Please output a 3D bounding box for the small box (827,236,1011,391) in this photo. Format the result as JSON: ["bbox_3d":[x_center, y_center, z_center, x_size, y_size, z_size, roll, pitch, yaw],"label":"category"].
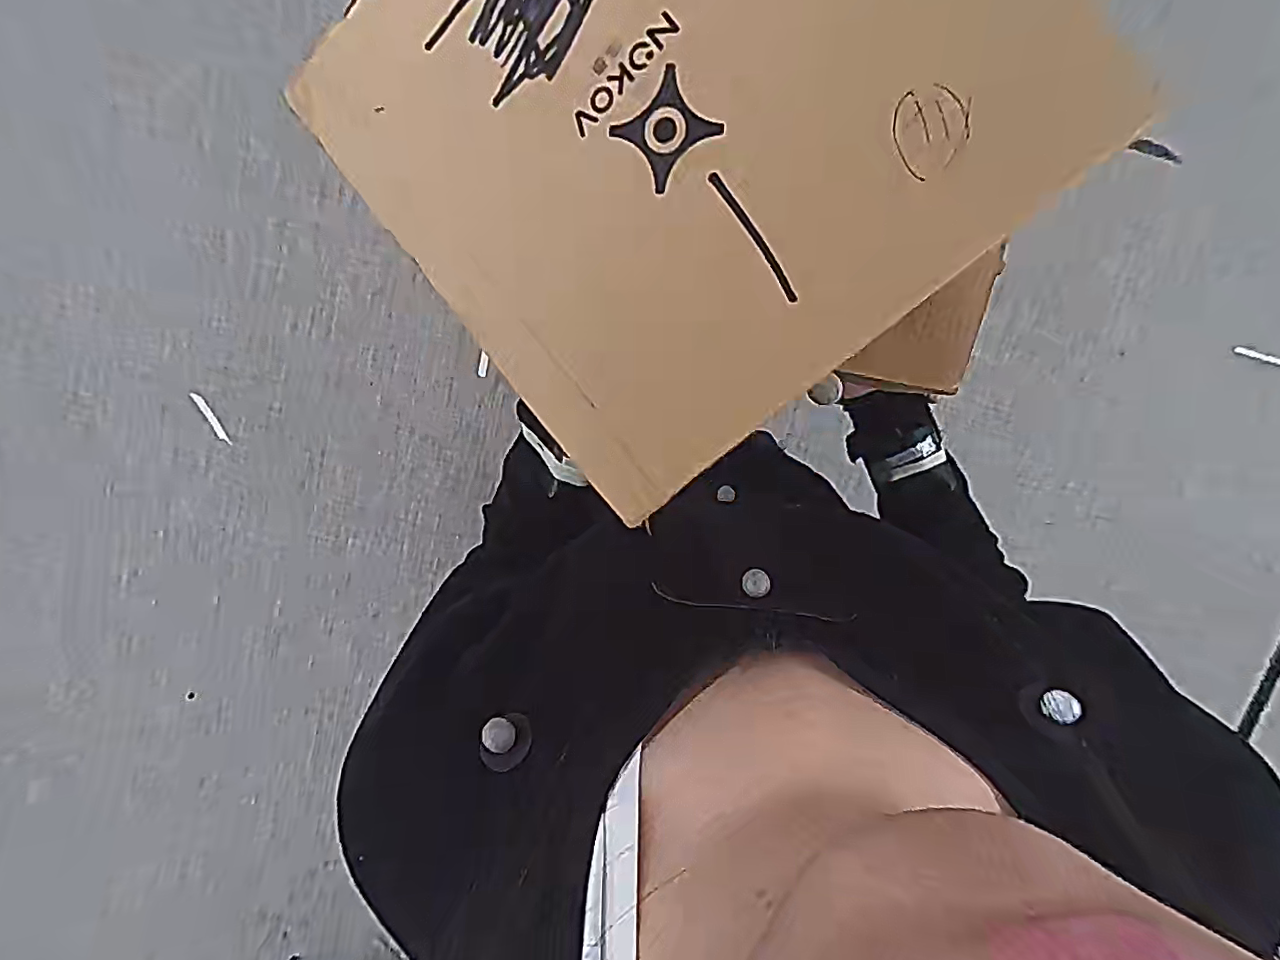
[{"bbox_3d":[0.128,-0.163,0.363,0.168,0.176,0.179,13,102,9],"label":"small box"}]

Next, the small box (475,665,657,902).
[{"bbox_3d":[-0.084,0.363,0.676,0.168,0.176,0.179,17,101,-2],"label":"small box"}]

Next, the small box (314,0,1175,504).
[{"bbox_3d":[0.028,-0.119,0.222,0.168,0.176,0.179,-38,90,19],"label":"small box"}]
